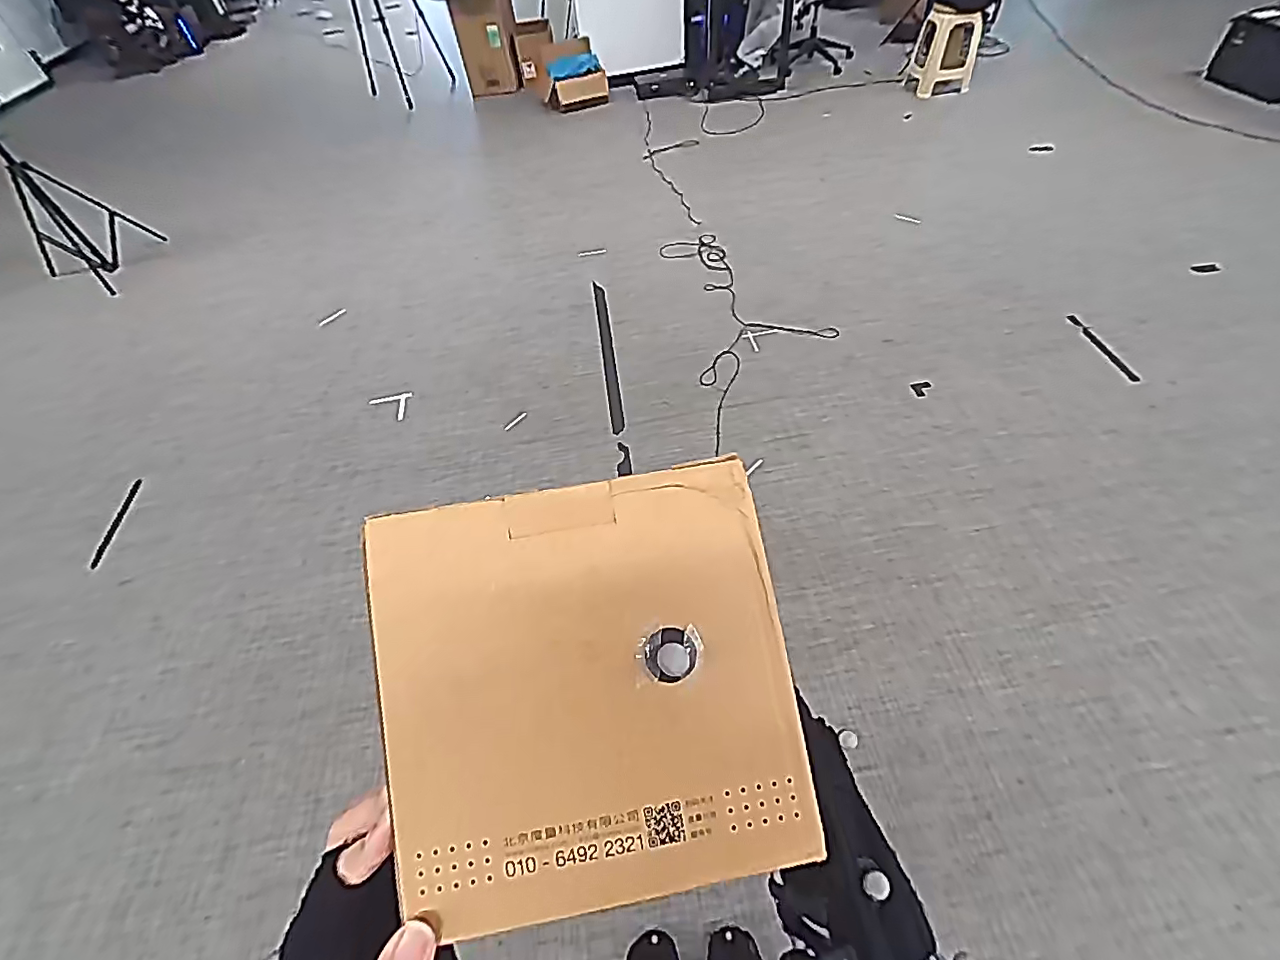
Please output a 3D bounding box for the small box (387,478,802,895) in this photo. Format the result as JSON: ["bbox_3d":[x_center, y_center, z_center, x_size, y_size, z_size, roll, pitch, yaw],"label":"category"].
[{"bbox_3d":[-0.020,0.106,0.317,0.168,0.179,0.176,-9,82,-2],"label":"small box"}]
